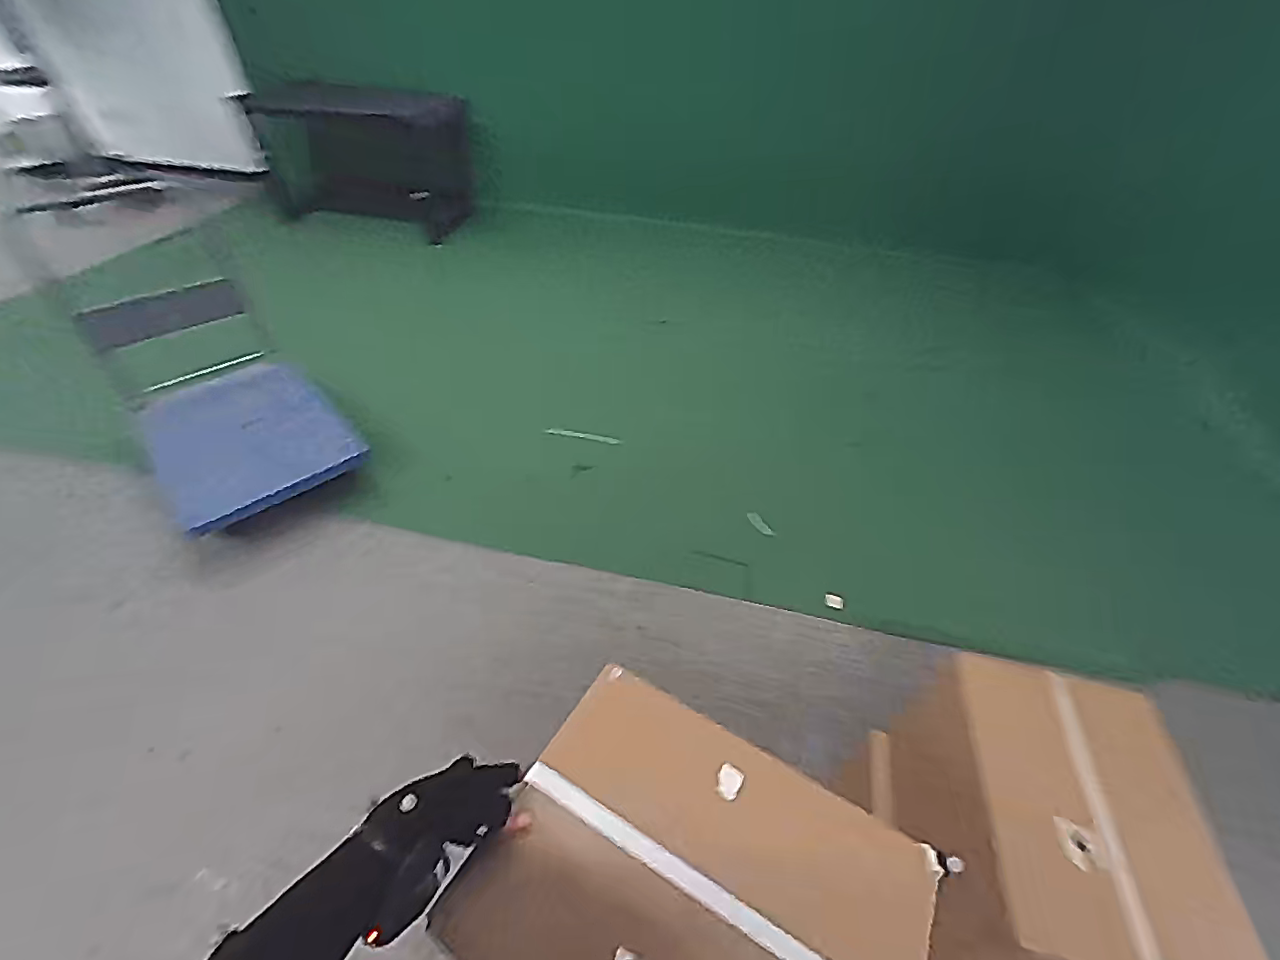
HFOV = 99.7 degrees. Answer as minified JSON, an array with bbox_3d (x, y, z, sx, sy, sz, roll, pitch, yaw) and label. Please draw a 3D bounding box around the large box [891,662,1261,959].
[{"bbox_3d":[0.638,0.581,0.878,0.320,0.320,0.408,14,45,7],"label":"large box"}]
